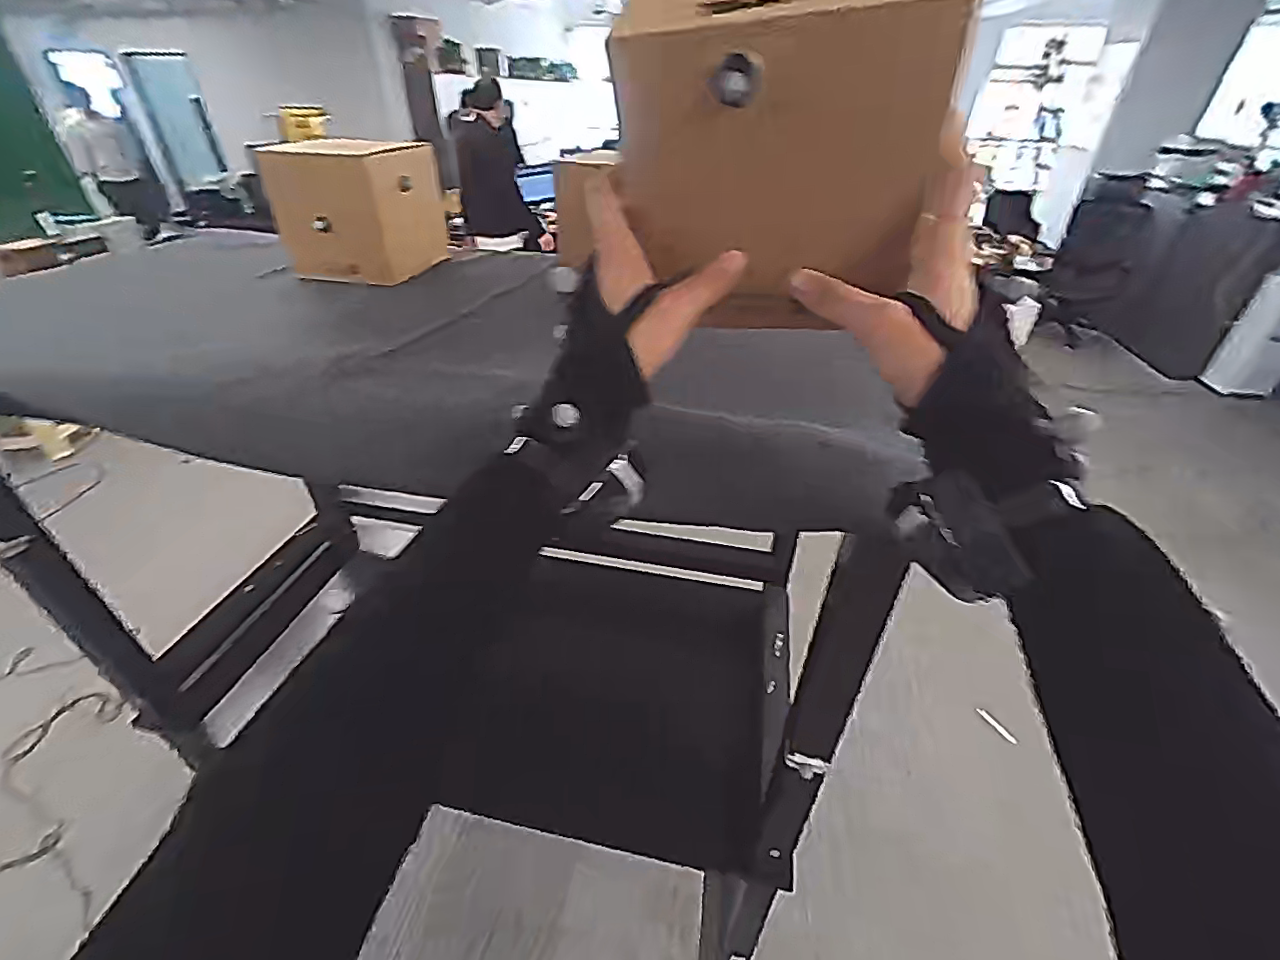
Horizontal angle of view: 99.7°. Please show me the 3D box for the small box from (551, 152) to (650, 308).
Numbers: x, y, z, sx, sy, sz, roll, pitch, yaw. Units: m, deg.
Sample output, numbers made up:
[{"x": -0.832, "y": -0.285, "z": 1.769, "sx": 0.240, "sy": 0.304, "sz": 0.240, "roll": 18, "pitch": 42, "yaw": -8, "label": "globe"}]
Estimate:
[{"x": -0.008, "y": -0.350, "z": 0.752, "sx": 0.168, "sy": 0.176, "sz": 0.179, "roll": 12, "pitch": 36, "yaw": 13, "label": "small box"}]

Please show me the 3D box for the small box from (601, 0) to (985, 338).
[{"x": 0.088, "y": -0.213, "z": 0.343, "sx": 0.168, "sy": 0.176, "sz": 0.179, "roll": 5, "pitch": 54, "yaw": 14, "label": "small box"}]

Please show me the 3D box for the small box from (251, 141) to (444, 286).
[{"x": -0.415, "y": -0.399, "z": 0.807, "sx": 0.168, "sy": 0.176, "sz": 0.179, "roll": 8, "pitch": 36, "yaw": 8, "label": "small box"}]
